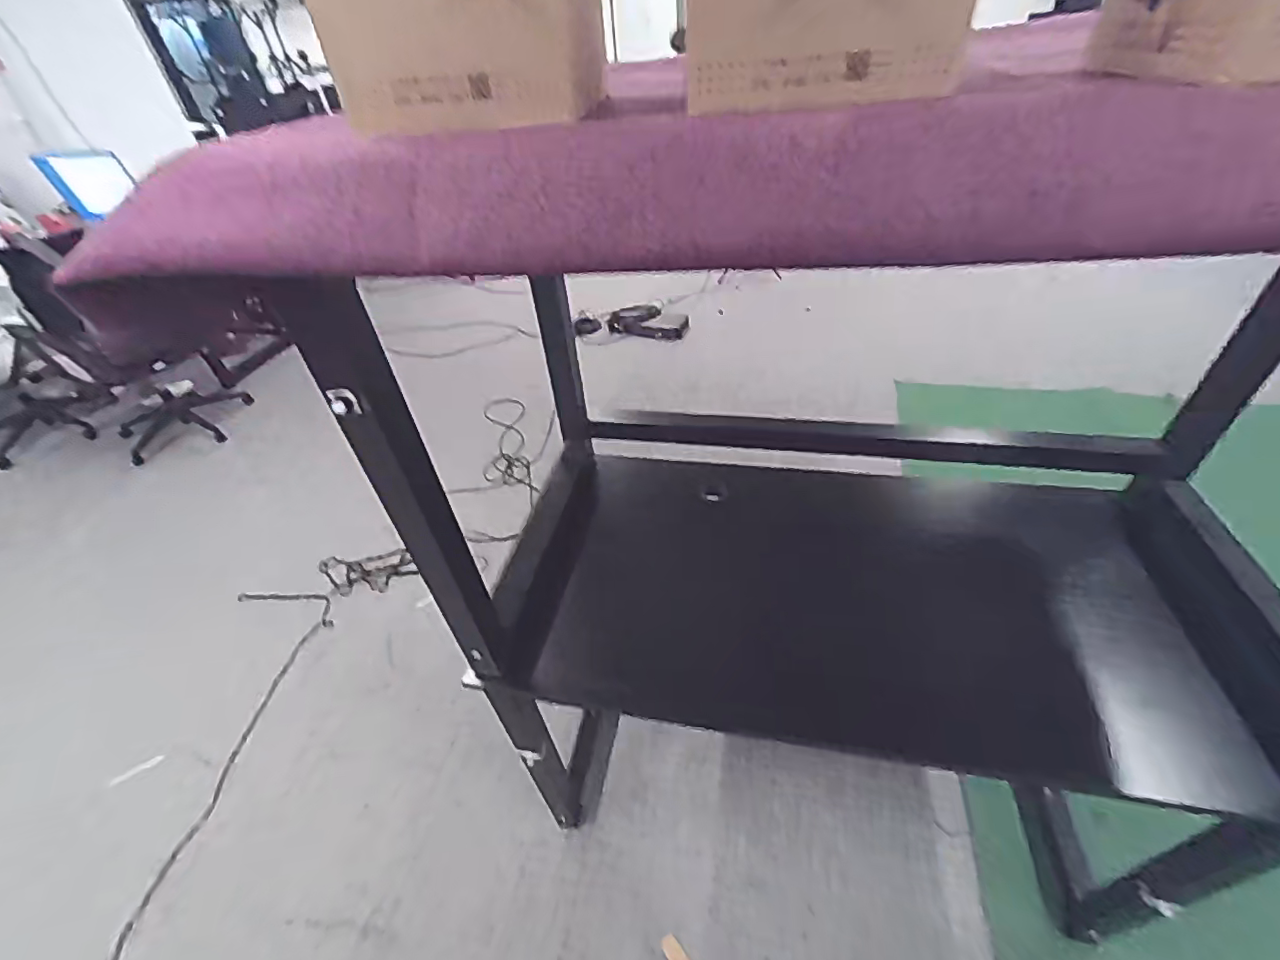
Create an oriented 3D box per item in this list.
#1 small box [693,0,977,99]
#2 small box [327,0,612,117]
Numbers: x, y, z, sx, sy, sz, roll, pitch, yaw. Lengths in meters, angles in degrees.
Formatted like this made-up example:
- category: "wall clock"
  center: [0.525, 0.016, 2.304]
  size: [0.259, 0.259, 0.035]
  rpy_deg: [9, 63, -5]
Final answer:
- category: "small box"
  center: [0.121, -0.357, 0.350]
  size: [0.168, 0.176, 0.179]
  rpy_deg: [3, 41, 8]
- category: "small box"
  center: [-0.116, -0.370, 0.390]
  size: [0.168, 0.176, 0.179]
  rpy_deg: [2, 40, 7]
